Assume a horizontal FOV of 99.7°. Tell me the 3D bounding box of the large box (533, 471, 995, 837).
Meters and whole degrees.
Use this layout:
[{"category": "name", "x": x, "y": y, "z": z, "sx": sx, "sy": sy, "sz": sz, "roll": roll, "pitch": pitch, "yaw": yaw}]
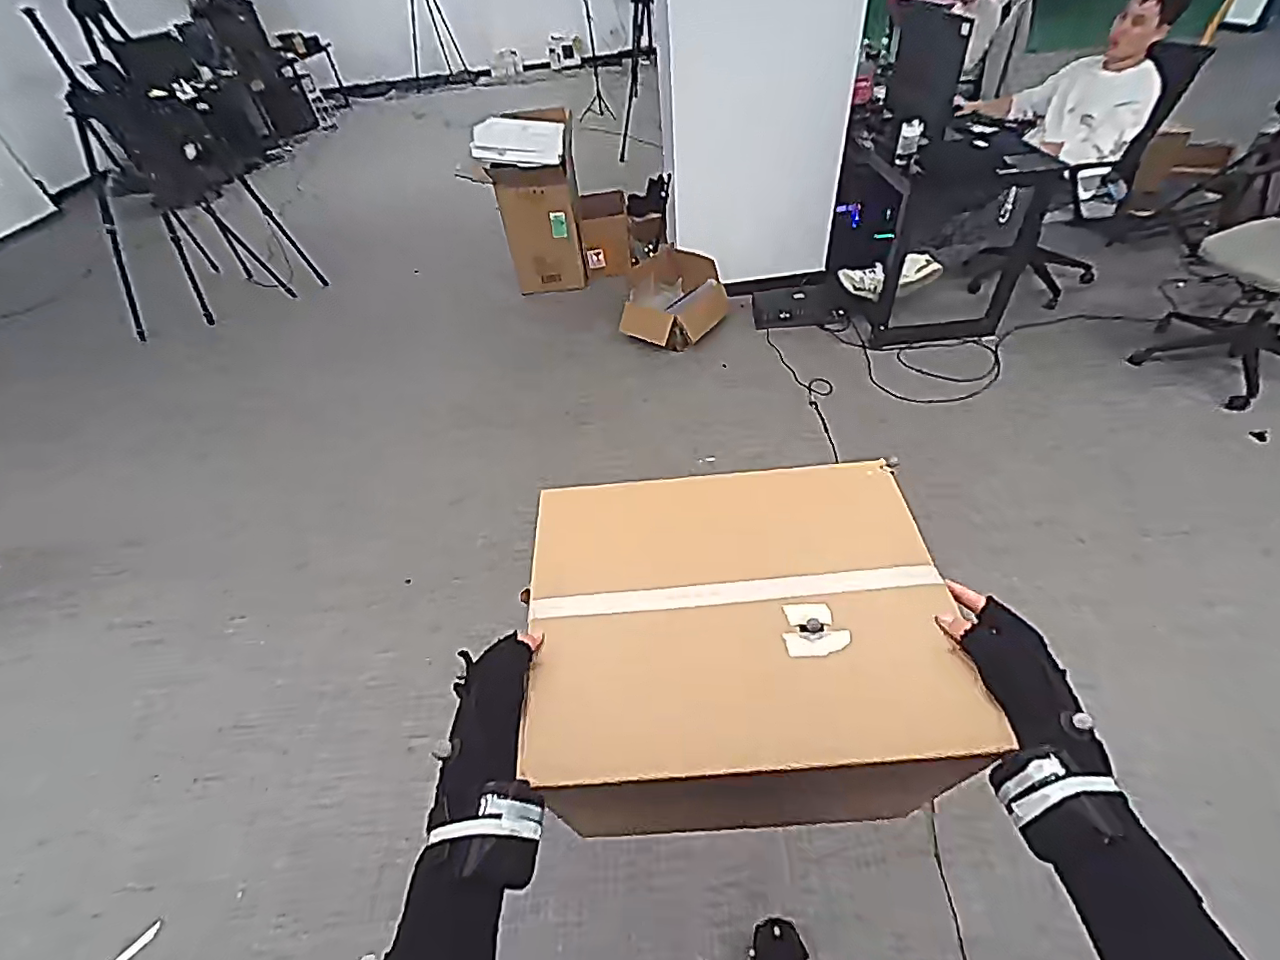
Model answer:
[{"category": "large box", "x": 0.104, "y": 0.220, "z": 0.664, "sx": 0.408, "sy": 0.320, "sz": 0.320, "roll": -5, "pitch": 50, "yaw": 1}]
